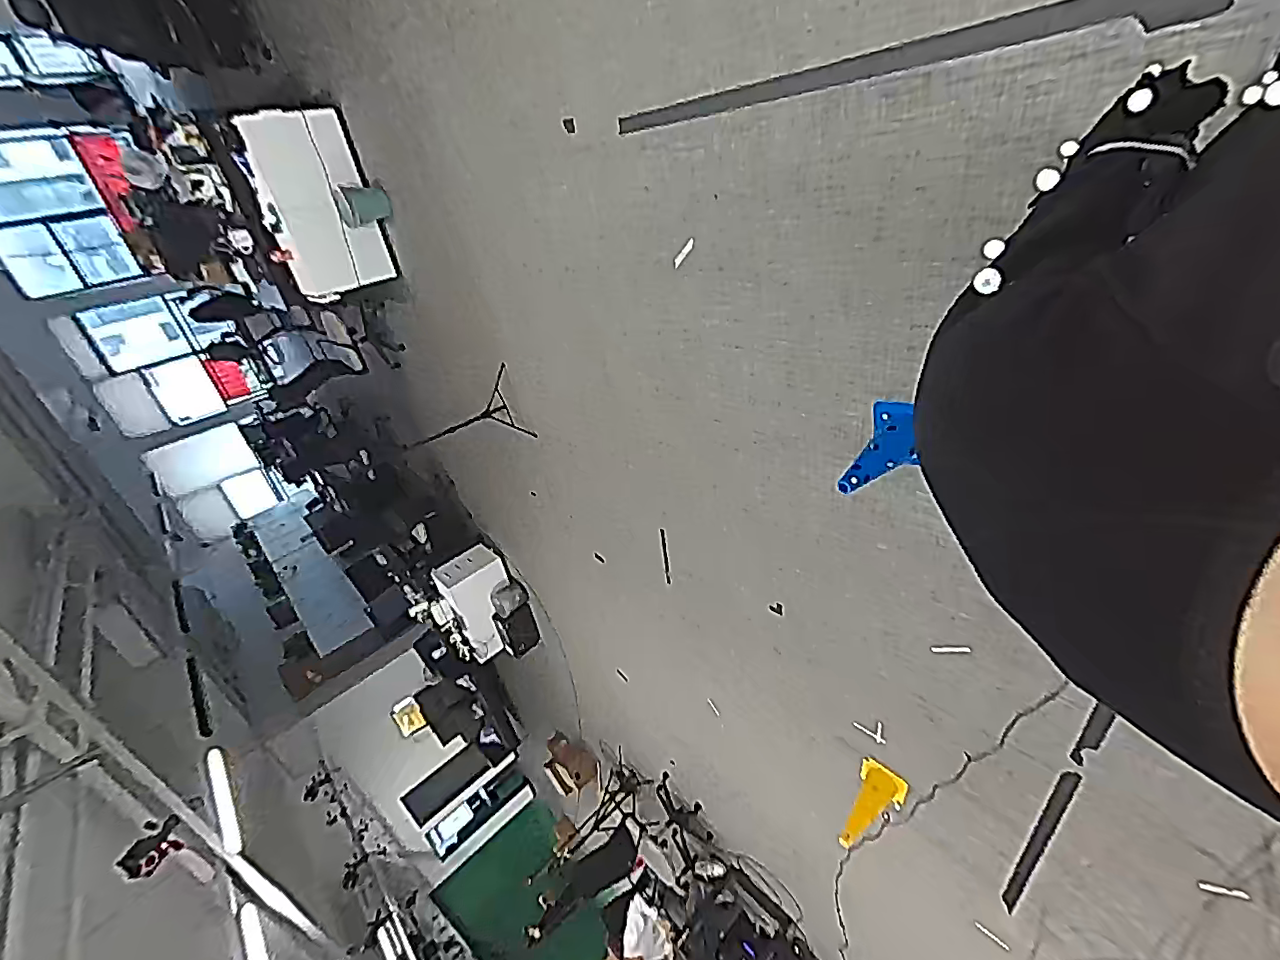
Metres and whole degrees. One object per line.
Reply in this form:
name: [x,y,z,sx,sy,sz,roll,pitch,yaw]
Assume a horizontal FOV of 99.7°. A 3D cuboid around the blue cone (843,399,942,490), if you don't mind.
blue cone: [0.669,-0.074,1.510,0.192,0.380,0.193,18,131,46]
